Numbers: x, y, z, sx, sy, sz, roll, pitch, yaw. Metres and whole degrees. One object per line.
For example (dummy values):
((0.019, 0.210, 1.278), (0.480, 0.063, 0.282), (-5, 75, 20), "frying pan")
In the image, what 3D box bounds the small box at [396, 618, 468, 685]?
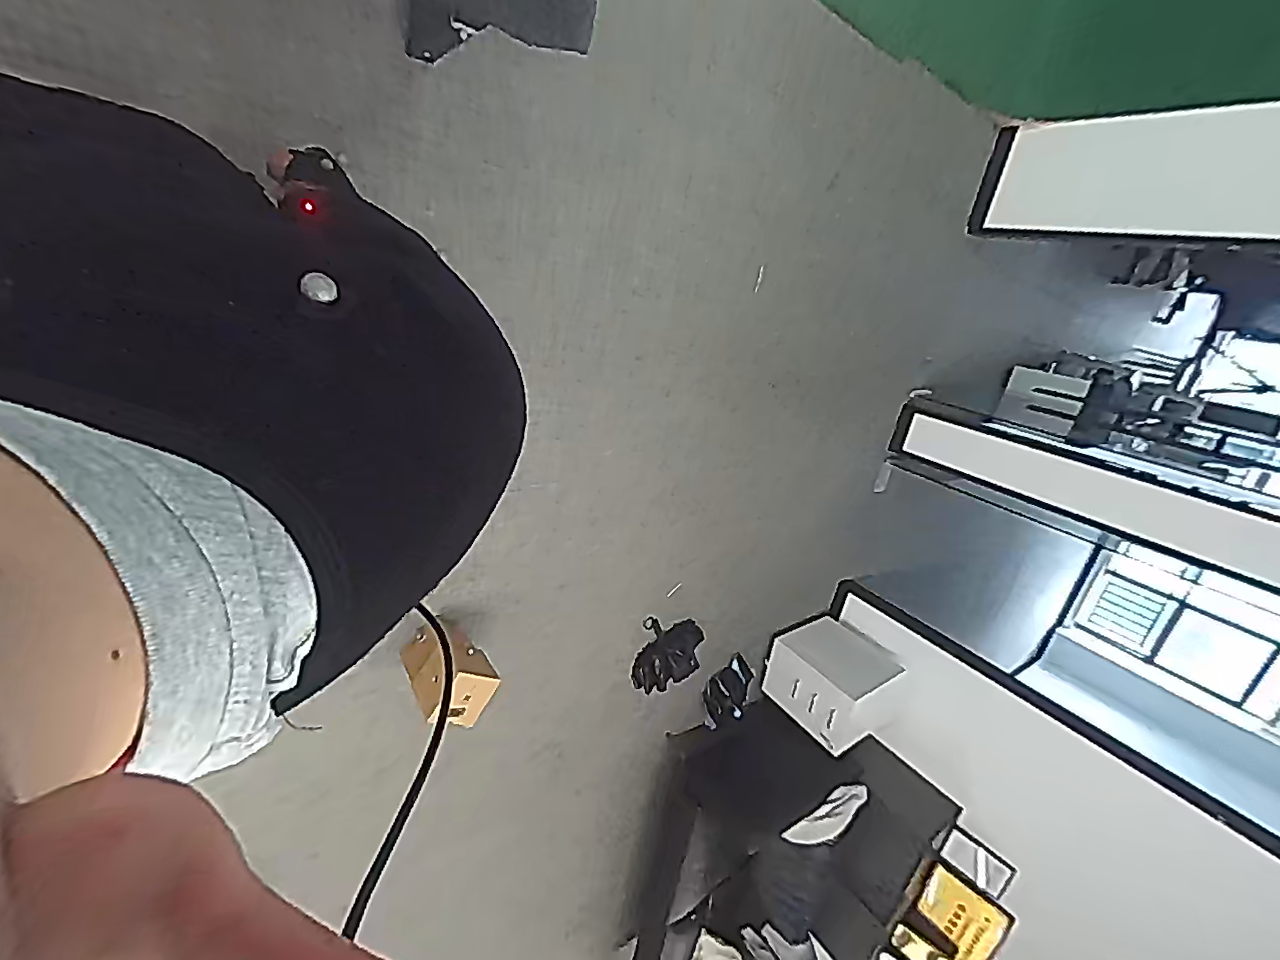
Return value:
((-0.685, 0.596, 1.823), (0.168, 0.176, 0.179), (-48, 132, -10), "small box")

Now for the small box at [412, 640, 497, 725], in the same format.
((-0.588, 0.632, 1.692), (0.168, 0.176, 0.179), (35, 87, -45), "small box")
